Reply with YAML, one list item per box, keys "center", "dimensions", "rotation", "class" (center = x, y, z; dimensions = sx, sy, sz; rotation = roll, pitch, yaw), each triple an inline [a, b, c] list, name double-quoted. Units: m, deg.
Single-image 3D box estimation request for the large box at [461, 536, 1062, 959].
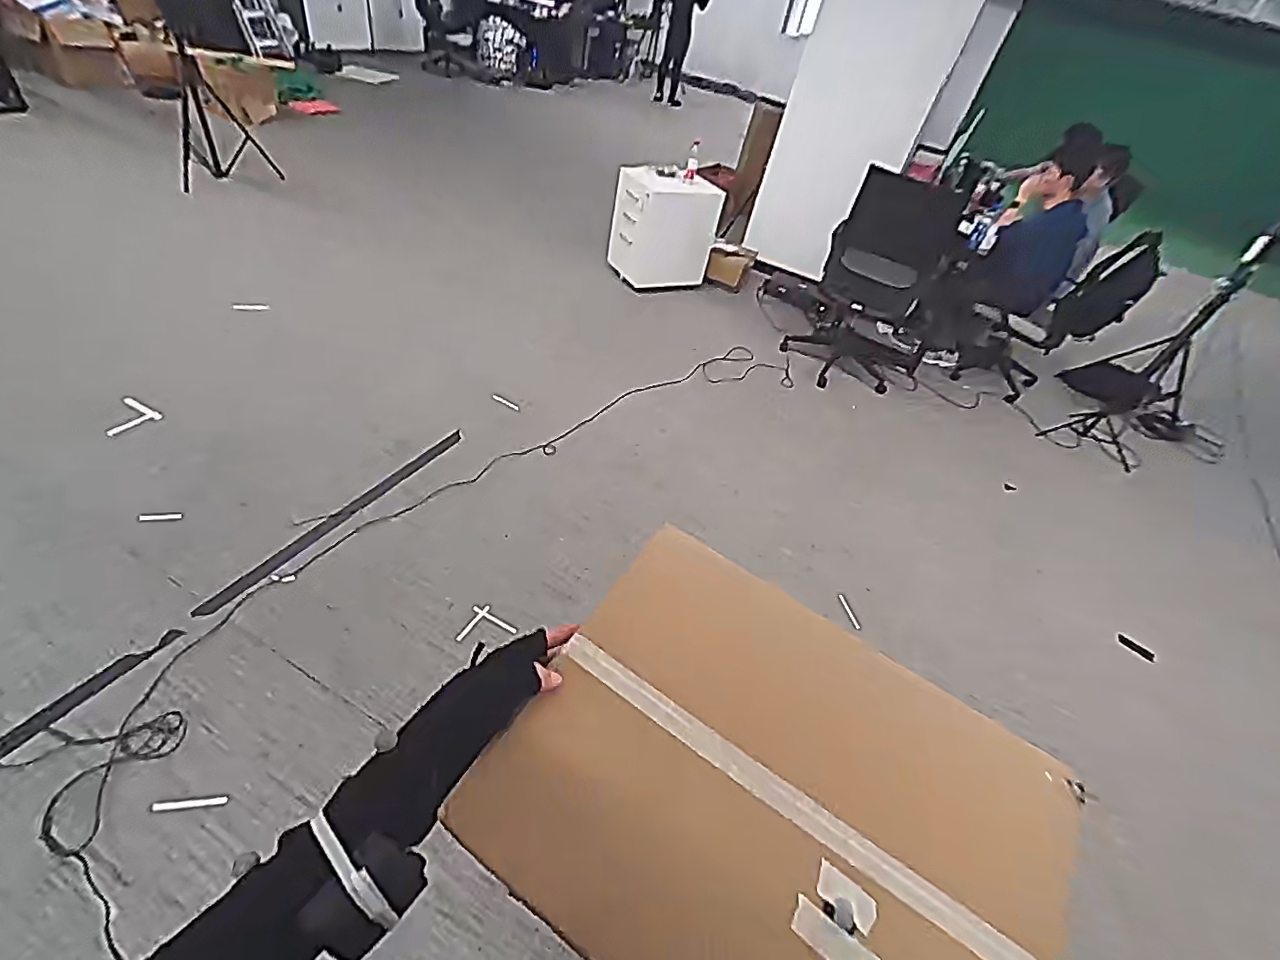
- center: [0.096, 0.335, 0.547]
  dimensions: [0.408, 0.320, 0.320]
  rotation: [31, 57, 16]
  class: "large box"
